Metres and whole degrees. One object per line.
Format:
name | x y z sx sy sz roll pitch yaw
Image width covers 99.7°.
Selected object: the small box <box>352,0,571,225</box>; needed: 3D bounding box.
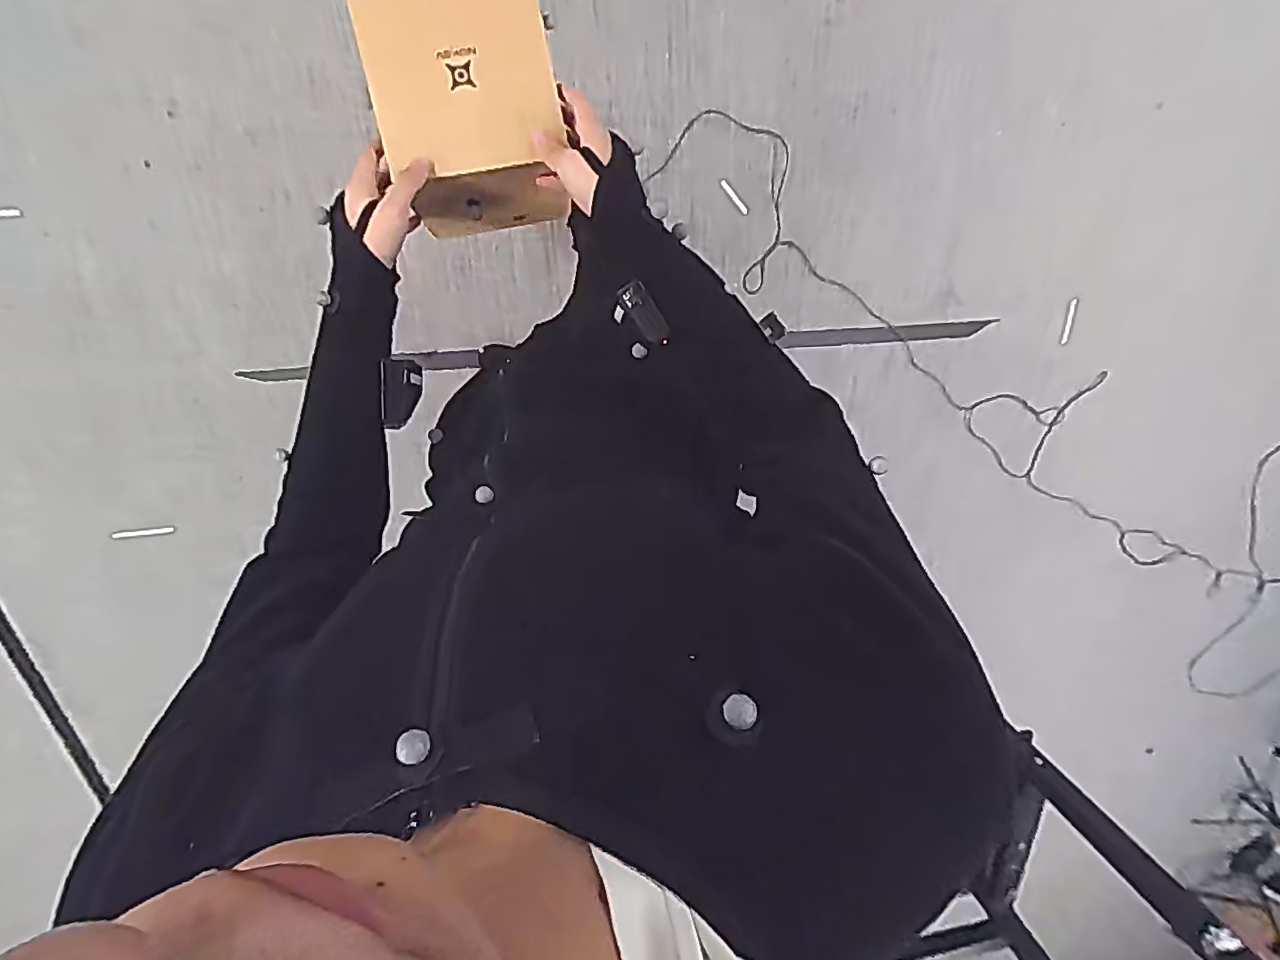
small box | -0.167 -0.382 0.558 0.168 0.176 0.179 -12 98 -6
